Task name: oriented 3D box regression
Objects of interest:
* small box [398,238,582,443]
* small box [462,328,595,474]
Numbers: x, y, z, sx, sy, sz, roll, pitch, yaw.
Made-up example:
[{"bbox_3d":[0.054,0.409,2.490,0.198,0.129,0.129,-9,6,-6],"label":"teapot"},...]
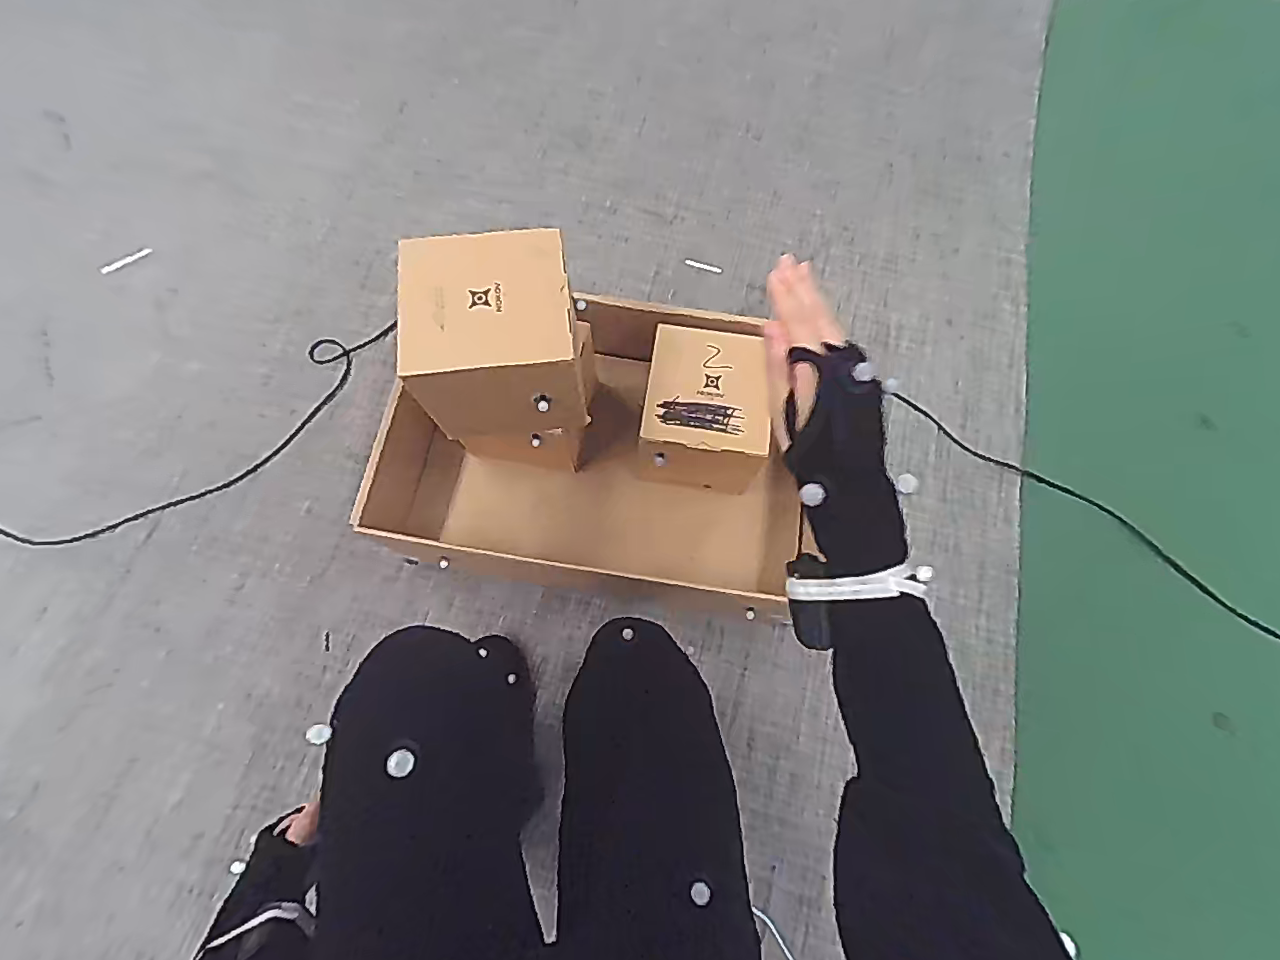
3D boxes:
[{"bbox_3d":[-0.162,-0.153,0.634,0.179,0.176,0.168,-6,72,-3],"label":"small box"},{"bbox_3d":[-0.170,-0.119,0.793,0.179,0.176,0.168,10,72,1],"label":"small box"}]
